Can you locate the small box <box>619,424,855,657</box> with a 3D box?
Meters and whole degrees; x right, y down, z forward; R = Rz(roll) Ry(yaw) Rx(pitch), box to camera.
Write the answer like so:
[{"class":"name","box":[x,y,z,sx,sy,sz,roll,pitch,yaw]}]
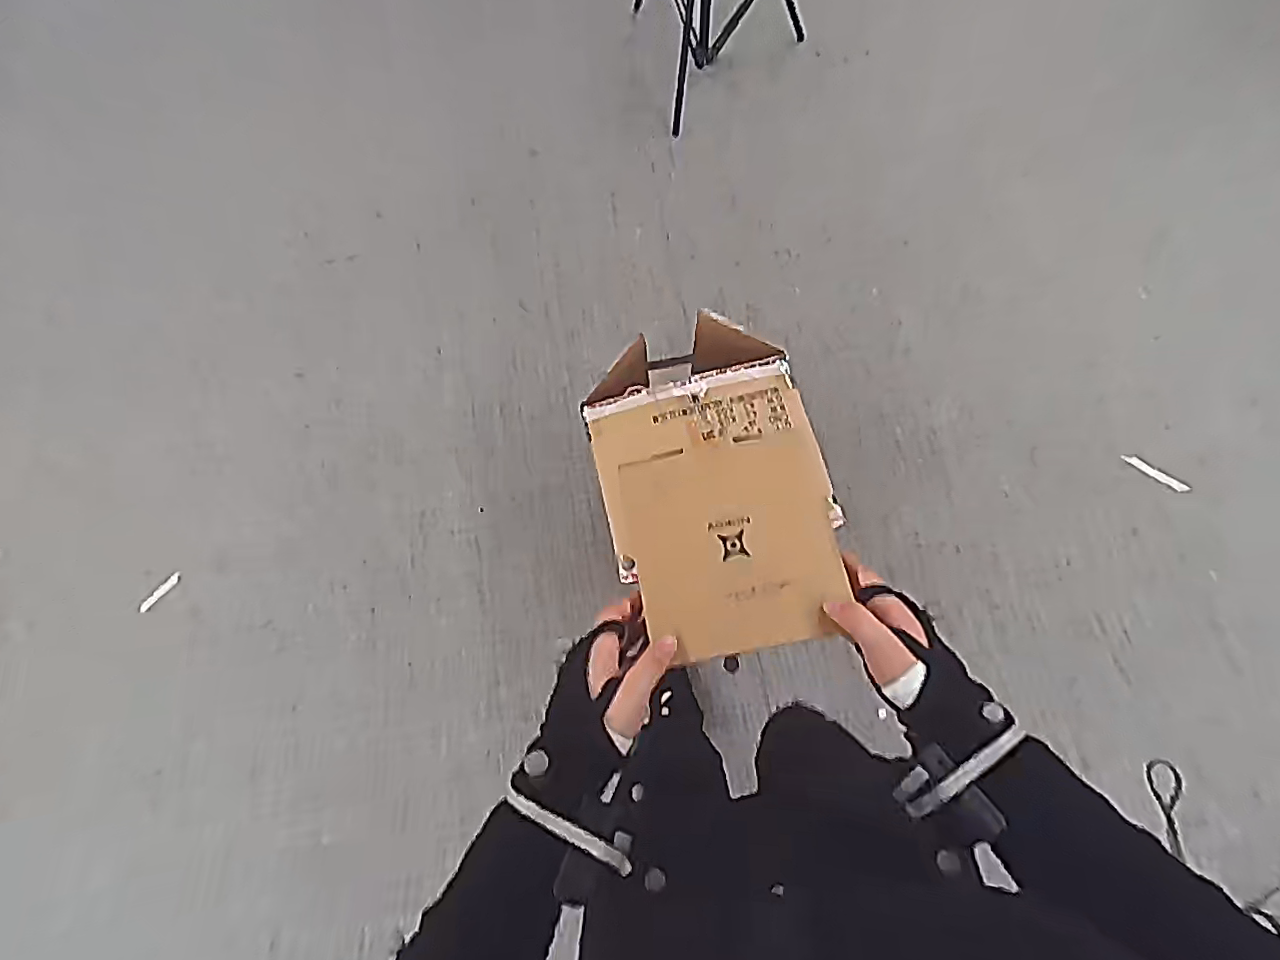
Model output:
[{"class":"small box","box":[0.079,0.070,0.527,0.168,0.176,0.179,-12,72,1]}]
